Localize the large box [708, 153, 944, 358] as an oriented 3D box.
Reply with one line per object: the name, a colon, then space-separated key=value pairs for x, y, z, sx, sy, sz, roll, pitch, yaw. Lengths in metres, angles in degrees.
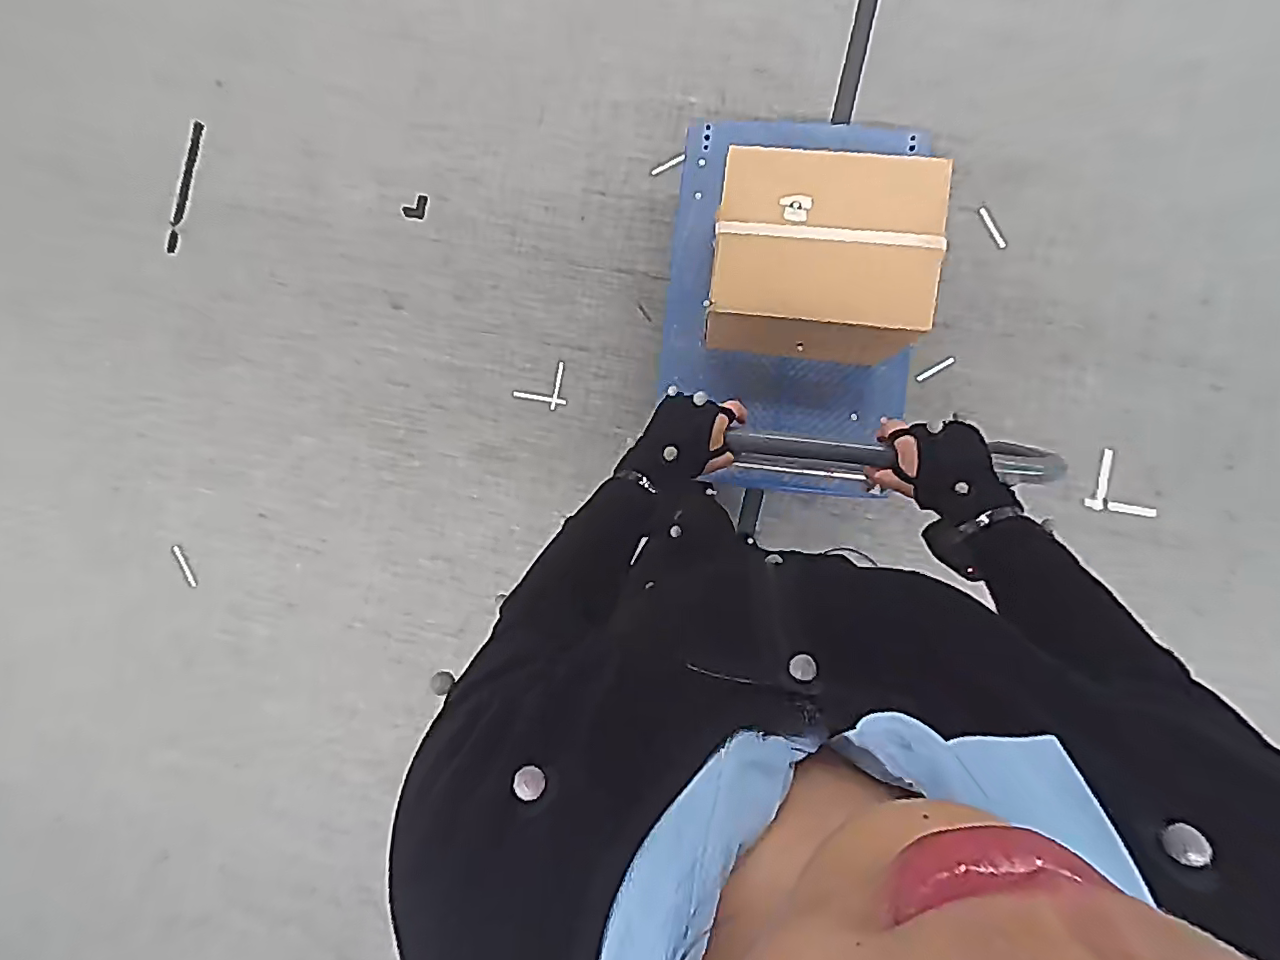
large box: x=0.363 y=-0.454 z=1.155 sx=0.408 sy=0.320 sz=0.320 roll=6 pitch=90 yaw=7
